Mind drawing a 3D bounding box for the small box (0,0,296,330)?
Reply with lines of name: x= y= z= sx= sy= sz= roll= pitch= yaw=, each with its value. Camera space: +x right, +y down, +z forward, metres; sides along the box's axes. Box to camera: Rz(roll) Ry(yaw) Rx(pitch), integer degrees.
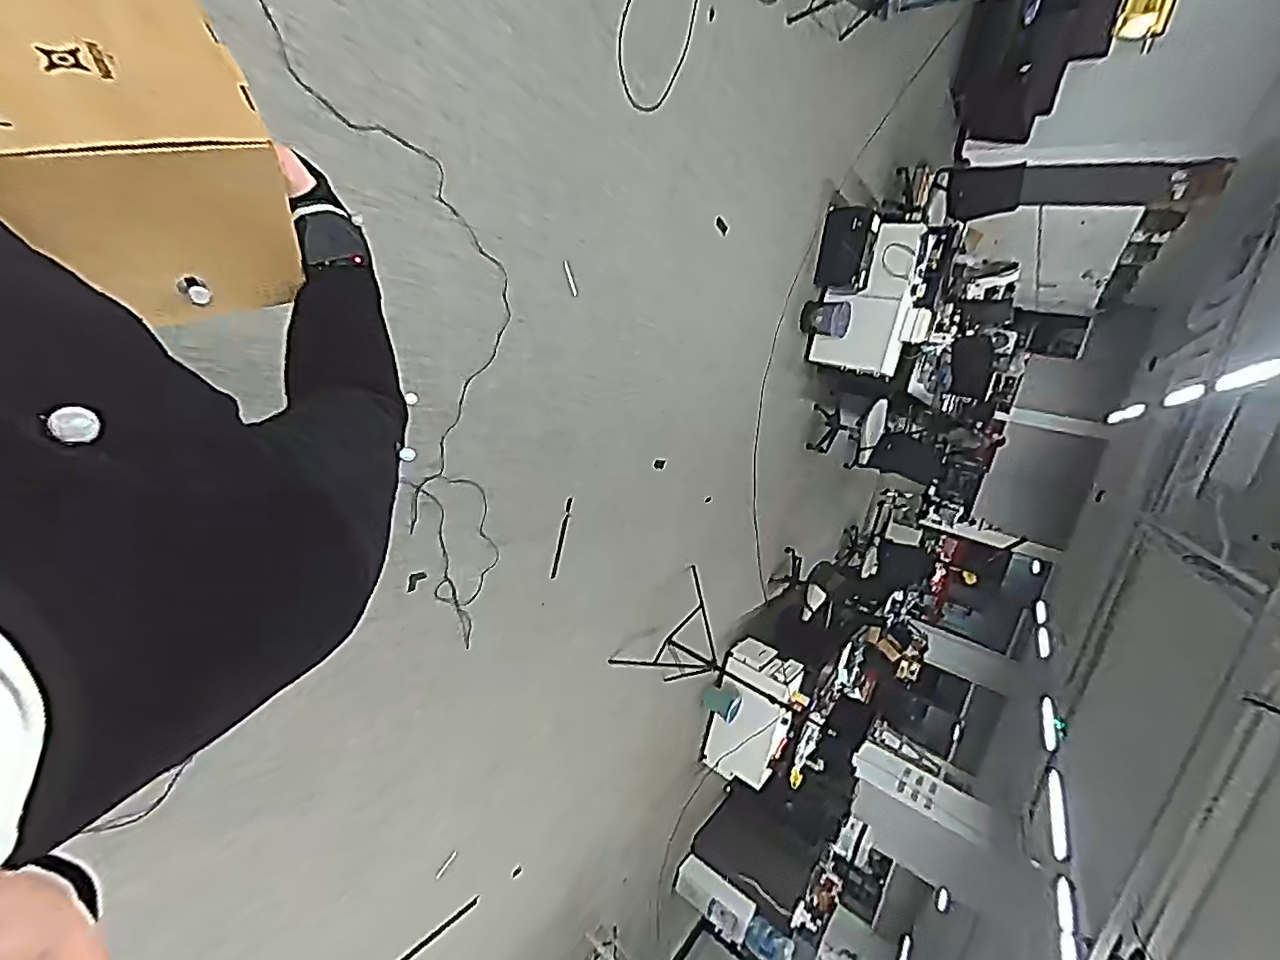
small box: x=-0.414 y=-0.254 z=0.450 sx=0.179 sy=0.168 sz=0.176 roll=-26 pitch=168 yaw=-31
